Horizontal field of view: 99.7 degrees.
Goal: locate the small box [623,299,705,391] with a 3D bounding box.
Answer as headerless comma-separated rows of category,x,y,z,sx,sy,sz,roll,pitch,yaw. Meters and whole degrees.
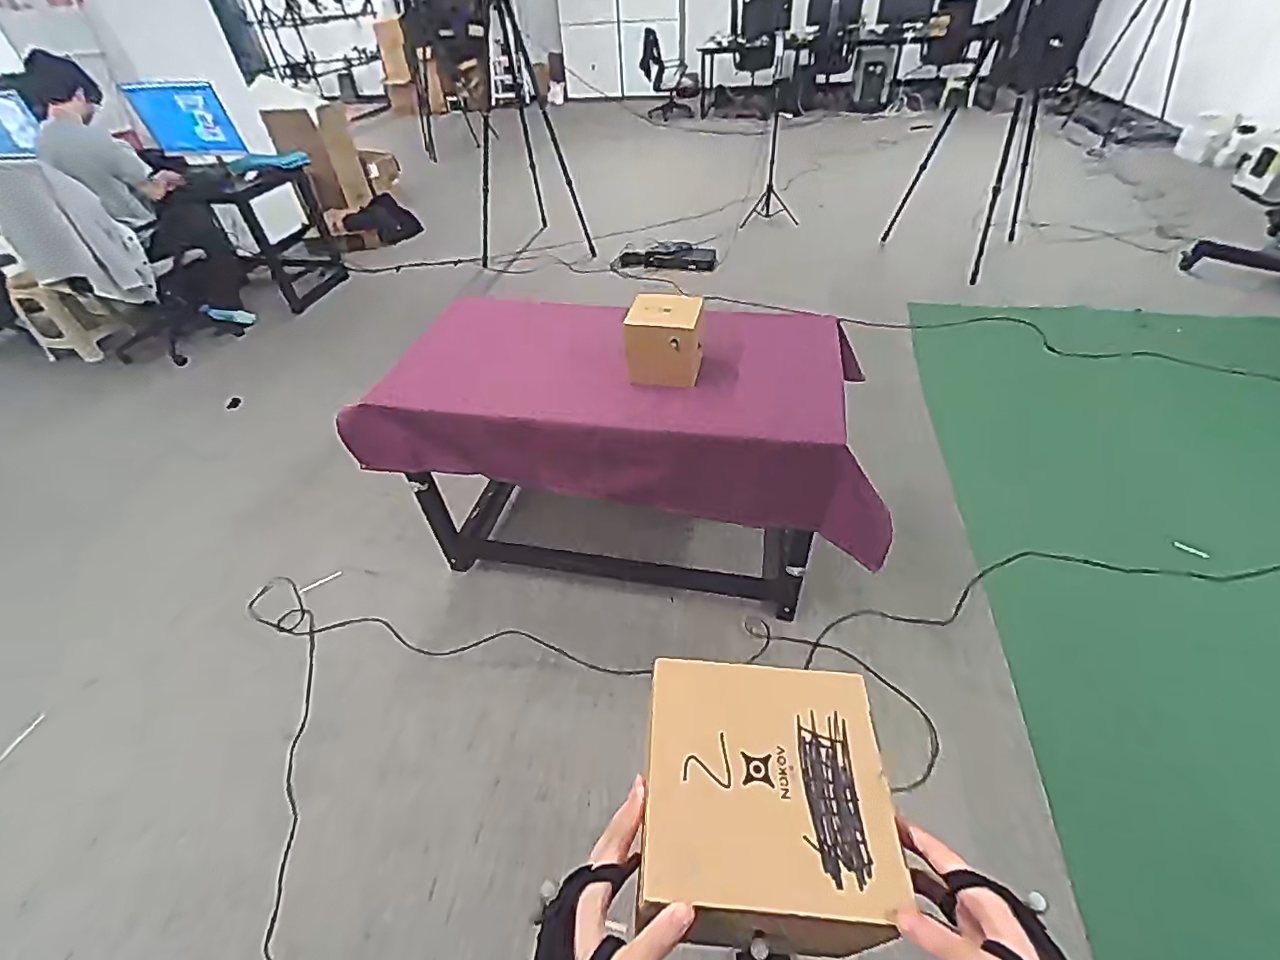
small box,0.067,-0.343,1.381,0.179,0.176,0.168,7,44,12
